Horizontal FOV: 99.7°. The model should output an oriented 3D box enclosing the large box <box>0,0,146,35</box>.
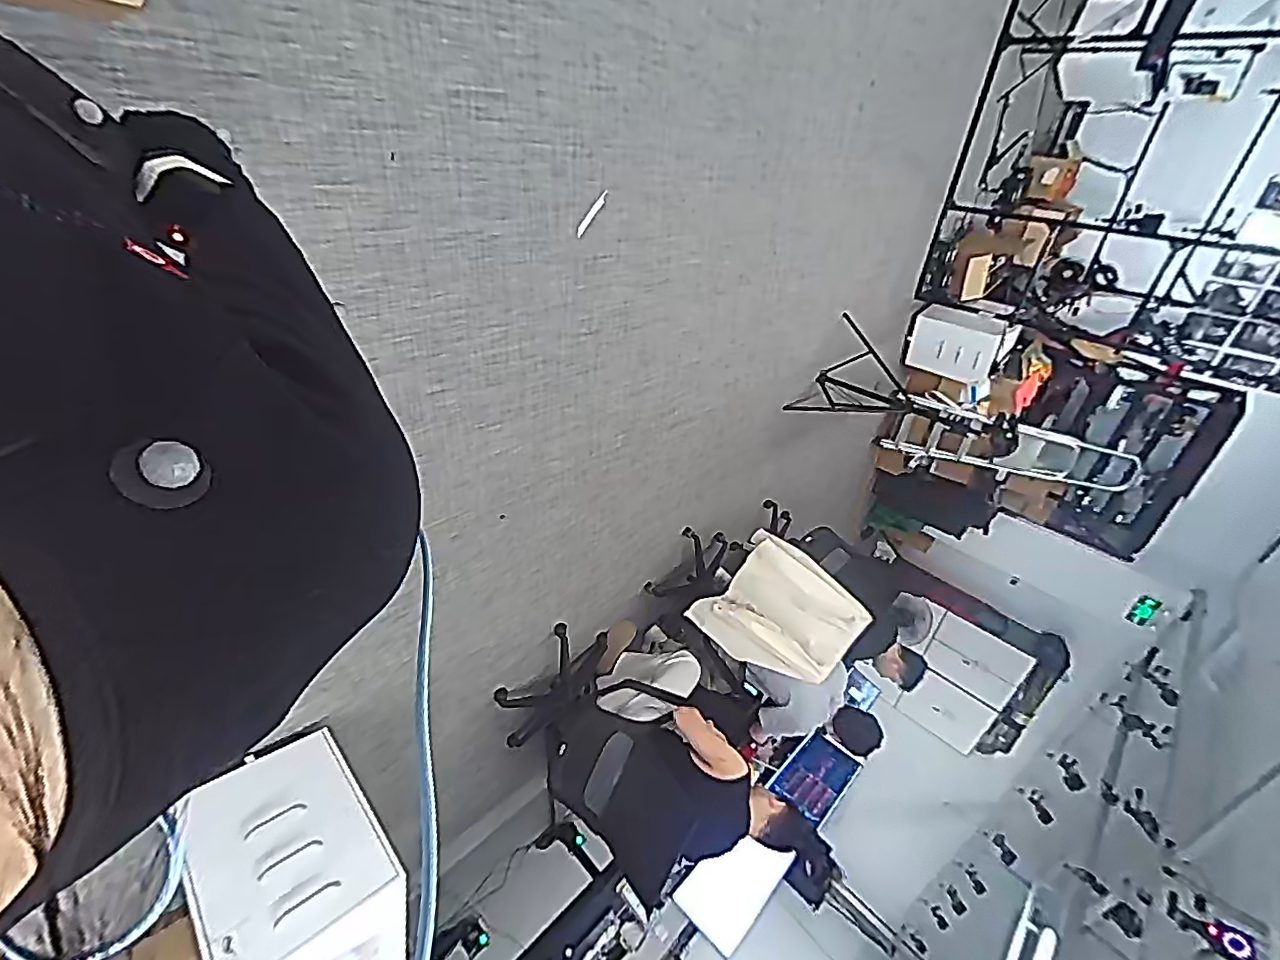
[{"bbox_3d":[-0.855,-0.720,0.569,0.408,0.320,0.320,-22,131,-42],"label":"large box"}]
